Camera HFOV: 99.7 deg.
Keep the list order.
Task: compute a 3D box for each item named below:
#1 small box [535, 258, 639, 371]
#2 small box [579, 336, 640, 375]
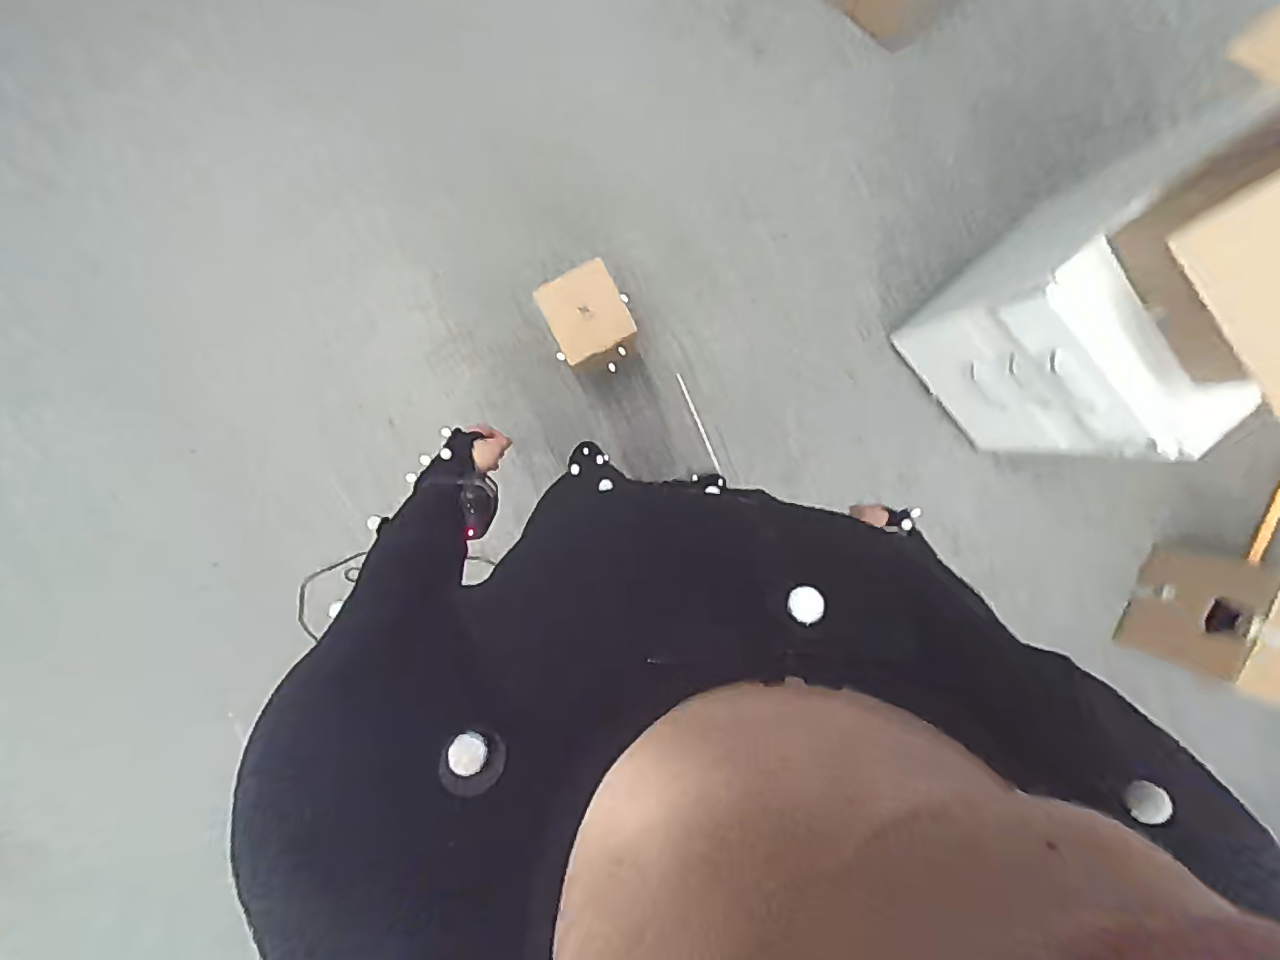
[{"bbox_3d":[-0.113,-0.361,1.220,0.168,0.176,0.179,-28,93,-1],"label":"small box"},{"bbox_3d":[-0.108,-0.378,1.383,0.168,0.176,0.179,-26,95,0],"label":"small box"}]
